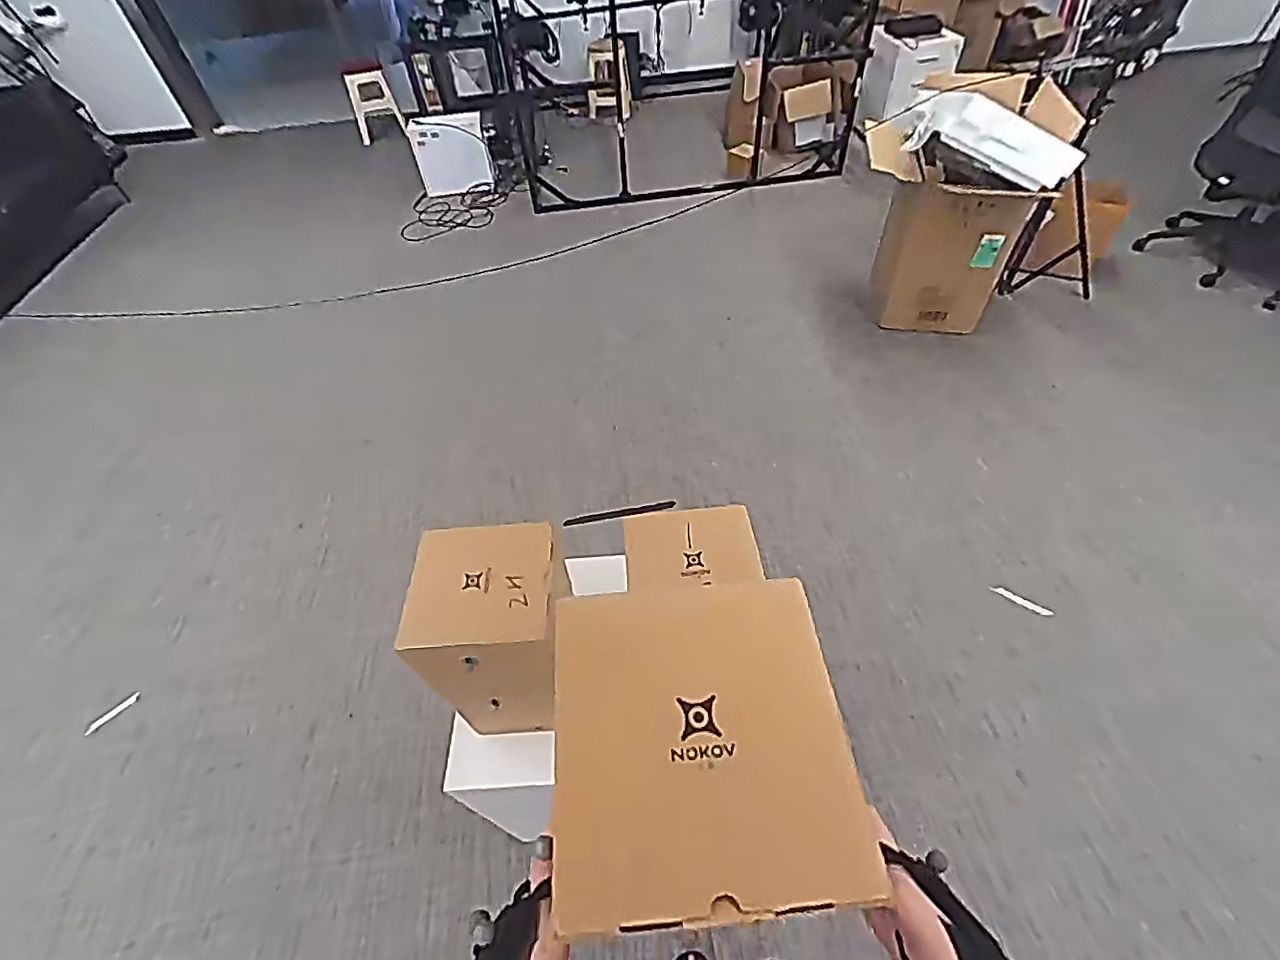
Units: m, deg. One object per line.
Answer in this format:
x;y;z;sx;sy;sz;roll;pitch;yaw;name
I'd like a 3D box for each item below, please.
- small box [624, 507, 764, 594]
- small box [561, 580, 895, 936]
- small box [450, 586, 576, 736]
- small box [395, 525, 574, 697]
0.071;0.160;0.719;0.168;0.176;0.179;-6;49;0;small box
0.036;0.190;0.372;0.168;0.176;0.179;-5;53;-3;small box
-0.180;0.283;0.849;0.168;0.176;0.179;-4;49;1;small box
-0.190;0.179;0.721;0.179;0.176;0.168;-4;50;0;small box
